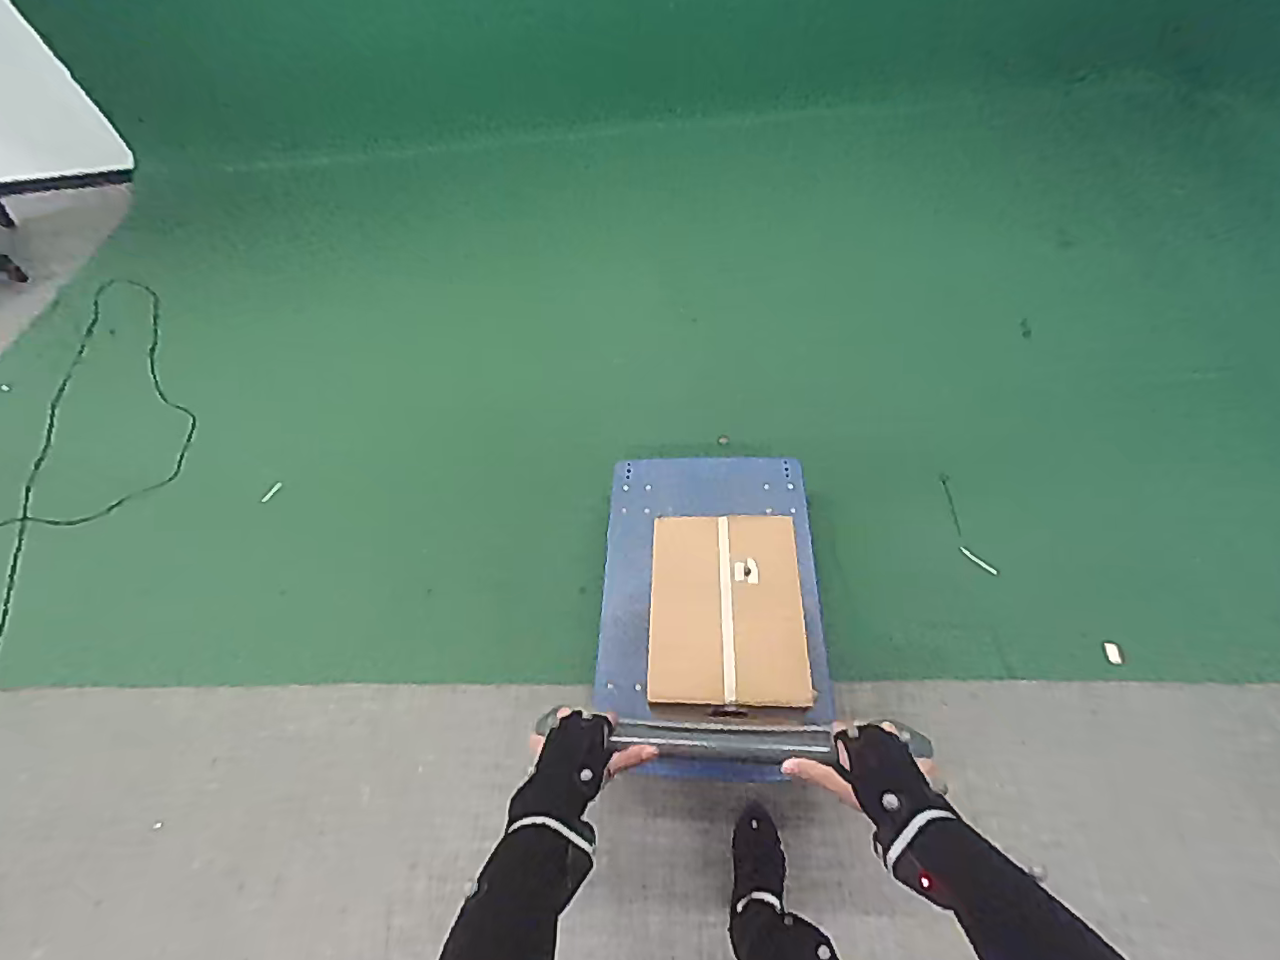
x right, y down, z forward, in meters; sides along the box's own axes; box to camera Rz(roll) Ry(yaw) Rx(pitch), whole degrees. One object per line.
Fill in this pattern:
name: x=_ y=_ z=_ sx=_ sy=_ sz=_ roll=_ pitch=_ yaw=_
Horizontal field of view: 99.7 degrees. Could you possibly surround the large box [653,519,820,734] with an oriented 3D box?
large box: x=0.200 y=0.338 z=1.233 sx=0.320 sy=0.320 sz=0.408 roll=0 pitch=56 yaw=6
